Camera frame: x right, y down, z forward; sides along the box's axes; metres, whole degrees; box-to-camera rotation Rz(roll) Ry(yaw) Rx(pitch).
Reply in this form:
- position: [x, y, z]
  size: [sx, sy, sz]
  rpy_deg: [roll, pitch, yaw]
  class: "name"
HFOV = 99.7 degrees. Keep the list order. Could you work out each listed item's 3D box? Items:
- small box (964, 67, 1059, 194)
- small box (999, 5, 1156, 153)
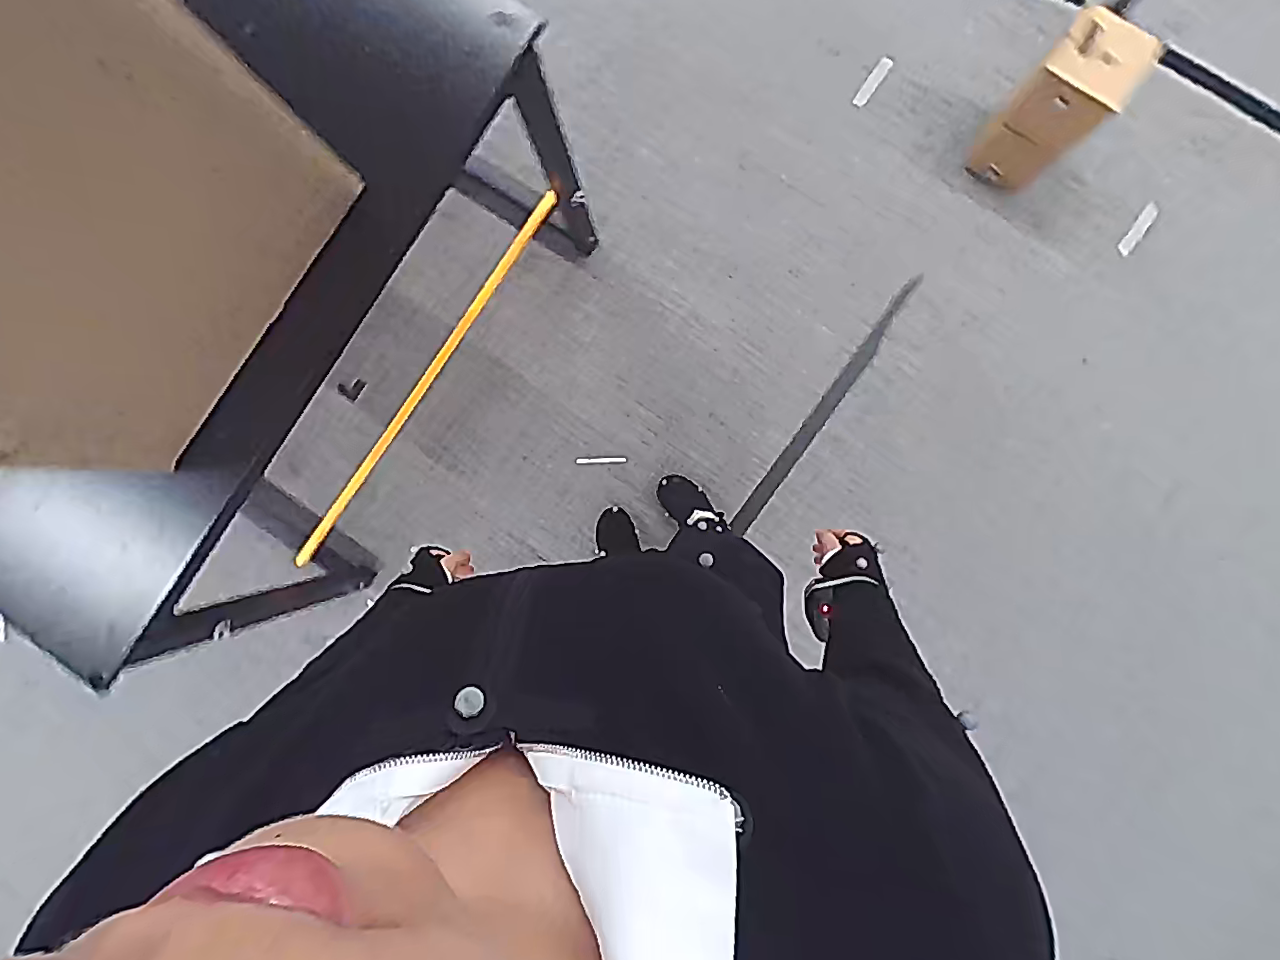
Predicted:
- position: [0.966, -0.875, 1.368]
  size: [0.168, 0.176, 0.179]
  rpy_deg: [29, 92, 4]
  class: "small box"
- position: [0.956, -0.877, 1.203]
  size: [0.179, 0.176, 0.168]
  rpy_deg: [34, 92, 3]
  class: "small box"
